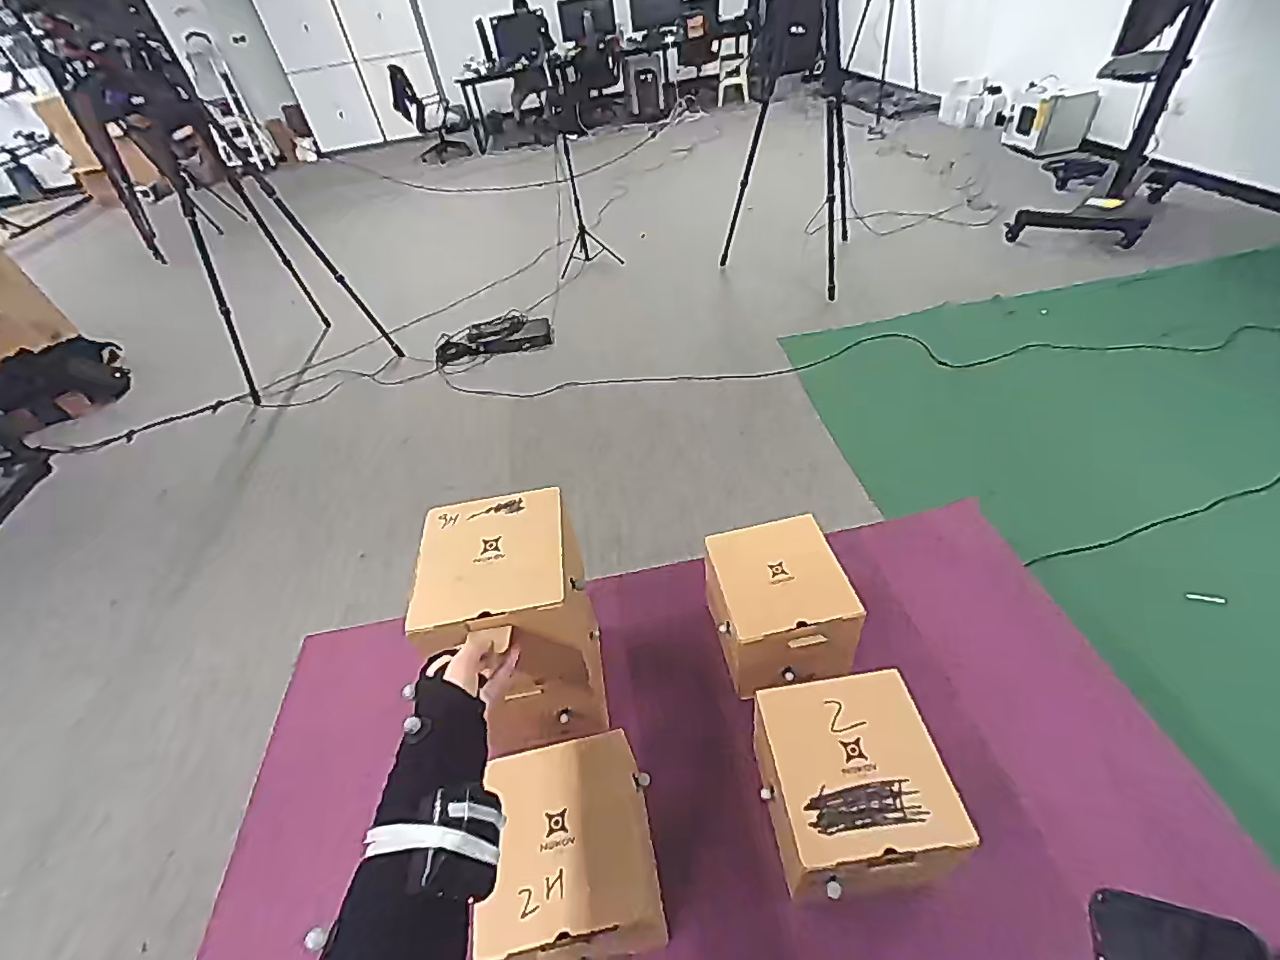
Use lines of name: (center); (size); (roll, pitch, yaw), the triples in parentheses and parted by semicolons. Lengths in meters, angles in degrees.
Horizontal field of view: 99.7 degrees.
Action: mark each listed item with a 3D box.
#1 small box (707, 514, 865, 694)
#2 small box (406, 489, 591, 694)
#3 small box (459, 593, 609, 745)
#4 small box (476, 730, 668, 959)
small box: (0.198, 0.180, 0.786); (0.168, 0.176, 0.179); (-13, 45, -2)
small box: (-0.157, 0.141, 0.658); (0.168, 0.176, 0.179); (-10, 44, -1)
small box: (-0.143, 0.258, 0.773); (0.168, 0.176, 0.179); (-10, 44, -1)
small box: (-0.071, 0.413, 0.599); (0.168, 0.176, 0.179); (-13, 43, -2)
